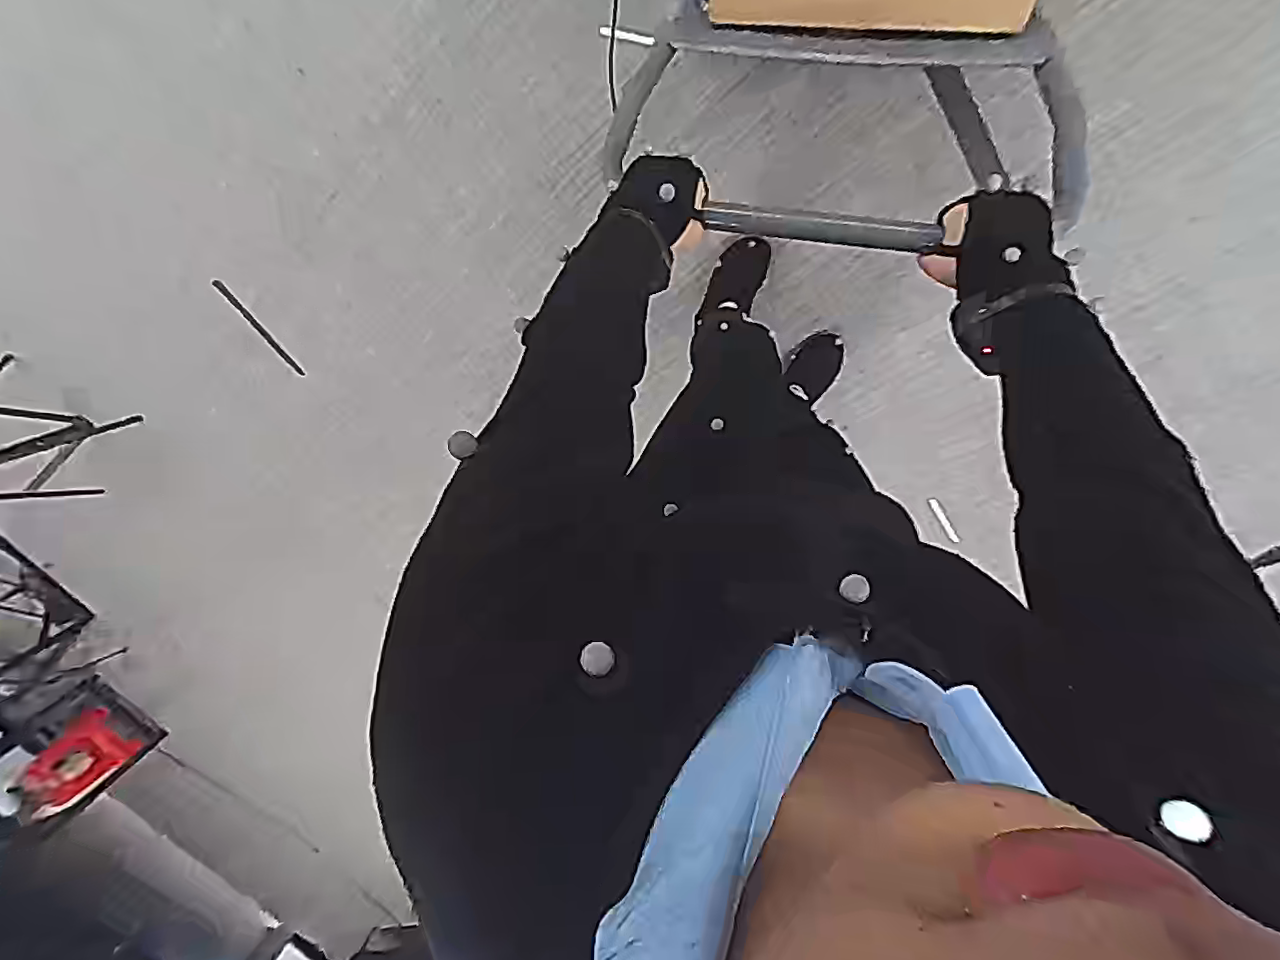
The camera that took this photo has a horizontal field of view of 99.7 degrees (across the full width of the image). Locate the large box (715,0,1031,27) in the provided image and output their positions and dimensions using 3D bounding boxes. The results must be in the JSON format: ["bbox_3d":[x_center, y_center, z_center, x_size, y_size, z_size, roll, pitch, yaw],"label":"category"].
[{"bbox_3d":[0.325,-0.823,0.700,0.408,0.320,0.320,10,143,11],"label":"large box"}]
